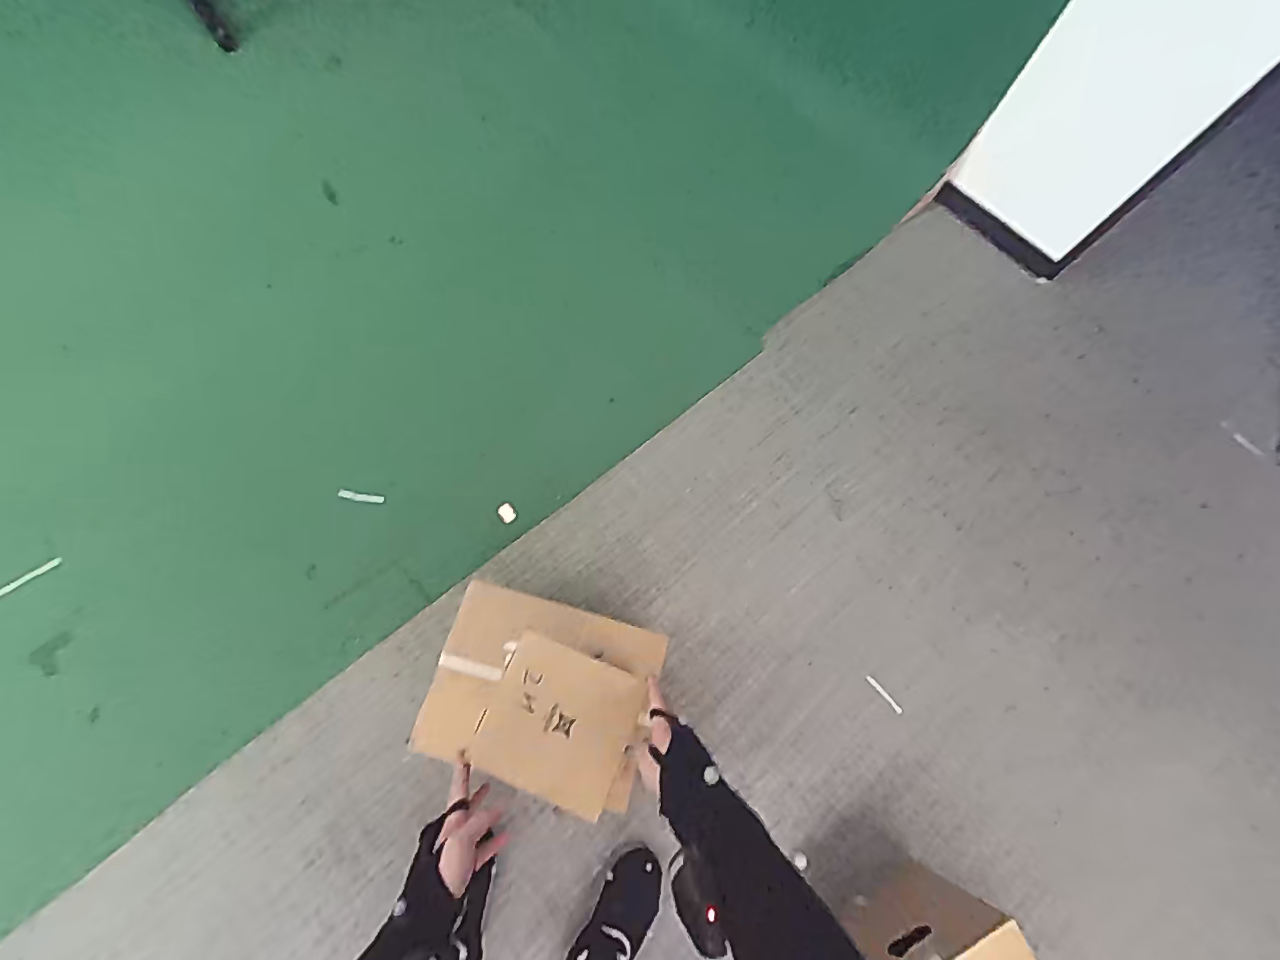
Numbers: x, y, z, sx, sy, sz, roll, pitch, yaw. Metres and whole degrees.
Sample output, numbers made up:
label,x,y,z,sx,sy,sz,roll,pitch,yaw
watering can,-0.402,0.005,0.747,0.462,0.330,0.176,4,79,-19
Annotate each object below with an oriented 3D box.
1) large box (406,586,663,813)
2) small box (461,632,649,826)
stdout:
label,x,y,z,sx,sy,sz,roll,pitch,yaw
large box,-0.190,0.443,1.130,0.408,0.320,0.320,15,68,2
small box,-0.103,0.319,0.722,0.179,0.176,0.168,23,70,6
